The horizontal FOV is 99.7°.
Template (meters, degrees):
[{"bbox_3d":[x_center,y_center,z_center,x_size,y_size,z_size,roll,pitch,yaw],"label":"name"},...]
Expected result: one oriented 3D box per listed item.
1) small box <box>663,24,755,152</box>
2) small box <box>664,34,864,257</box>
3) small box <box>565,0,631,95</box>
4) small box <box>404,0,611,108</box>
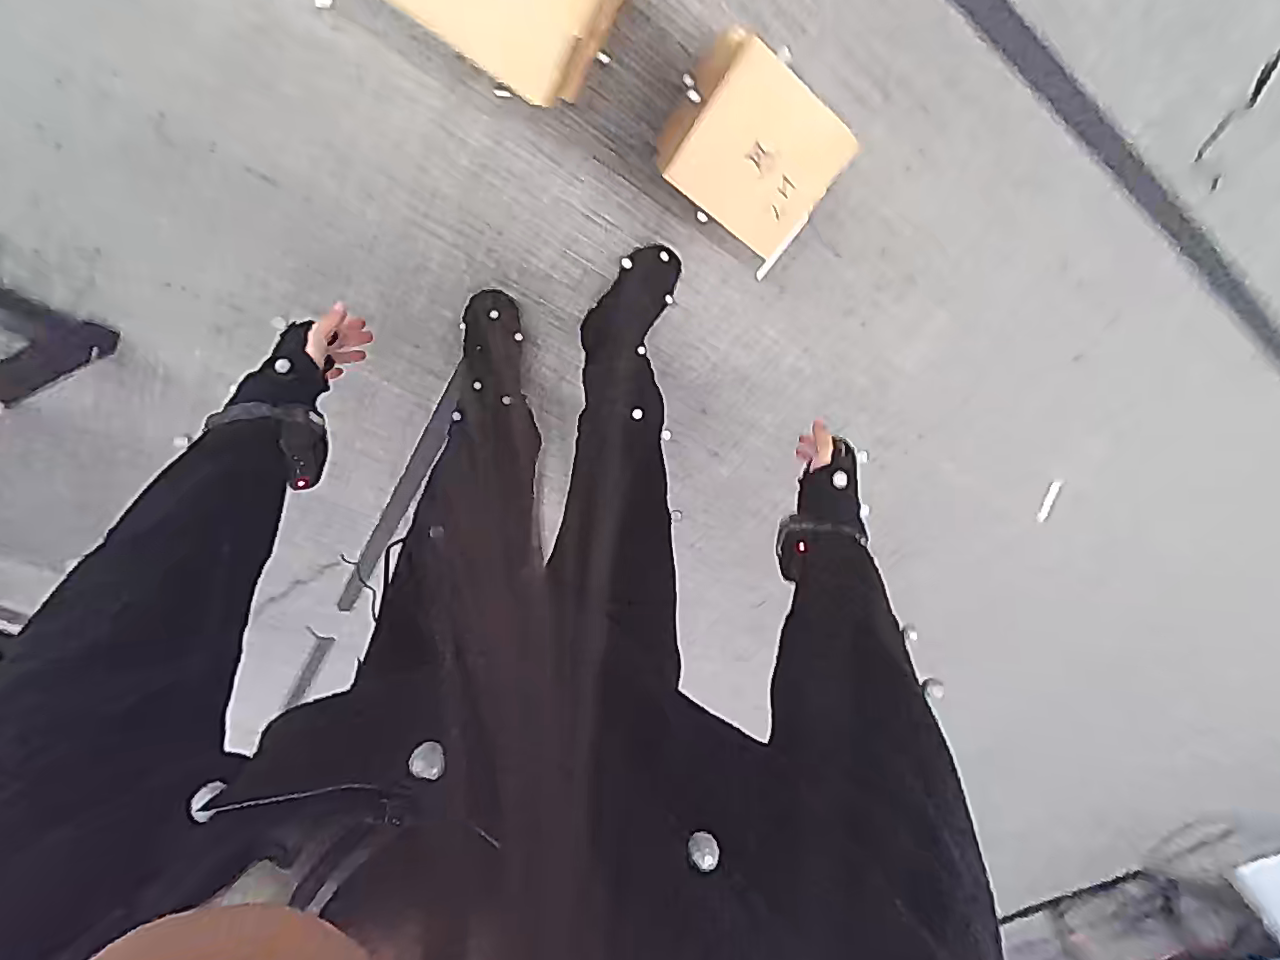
[{"bbox_3d":[0.147,-0.544,0.830,0.168,0.176,0.179,27,121,-21],"label":"small box"},{"bbox_3d":[0.147,-0.431,0.708,0.179,0.176,0.168,29,121,-23],"label":"small box"},{"bbox_3d":[-0.118,-0.660,0.732,0.179,0.176,0.168,28,120,-22],"label":"small box"},{"bbox_3d":[-0.109,-0.464,0.470,0.179,0.176,0.168,27,119,-20],"label":"small box"}]
